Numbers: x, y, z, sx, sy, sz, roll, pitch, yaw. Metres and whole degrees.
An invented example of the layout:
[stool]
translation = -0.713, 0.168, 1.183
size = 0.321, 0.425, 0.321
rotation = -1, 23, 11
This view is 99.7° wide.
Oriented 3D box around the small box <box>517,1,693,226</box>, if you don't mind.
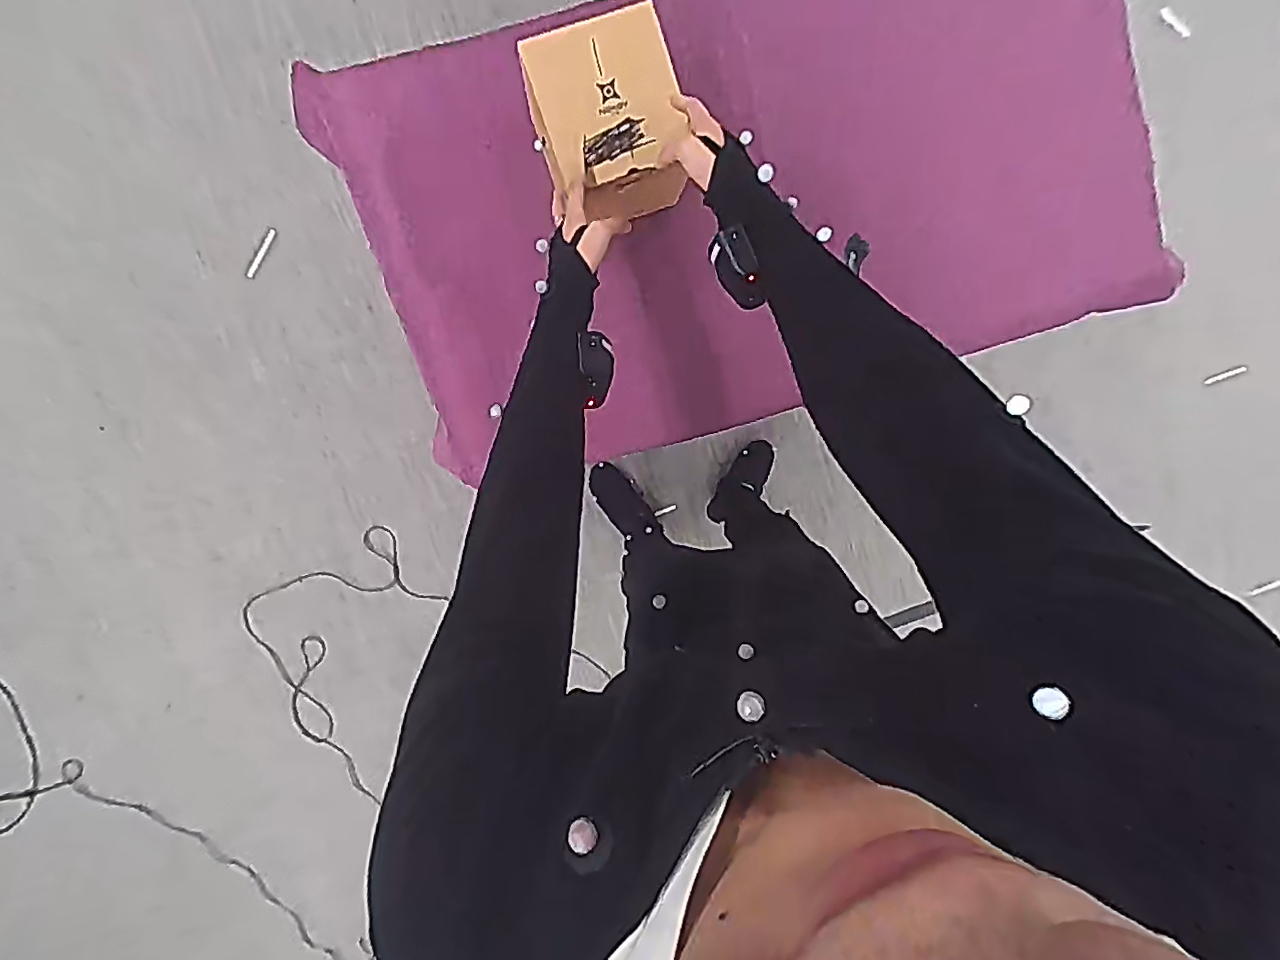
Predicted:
[small box]
translation = -0.045, -0.457, 0.711
size = 0.168, 0.176, 0.179
rotation = -20, 99, -3
